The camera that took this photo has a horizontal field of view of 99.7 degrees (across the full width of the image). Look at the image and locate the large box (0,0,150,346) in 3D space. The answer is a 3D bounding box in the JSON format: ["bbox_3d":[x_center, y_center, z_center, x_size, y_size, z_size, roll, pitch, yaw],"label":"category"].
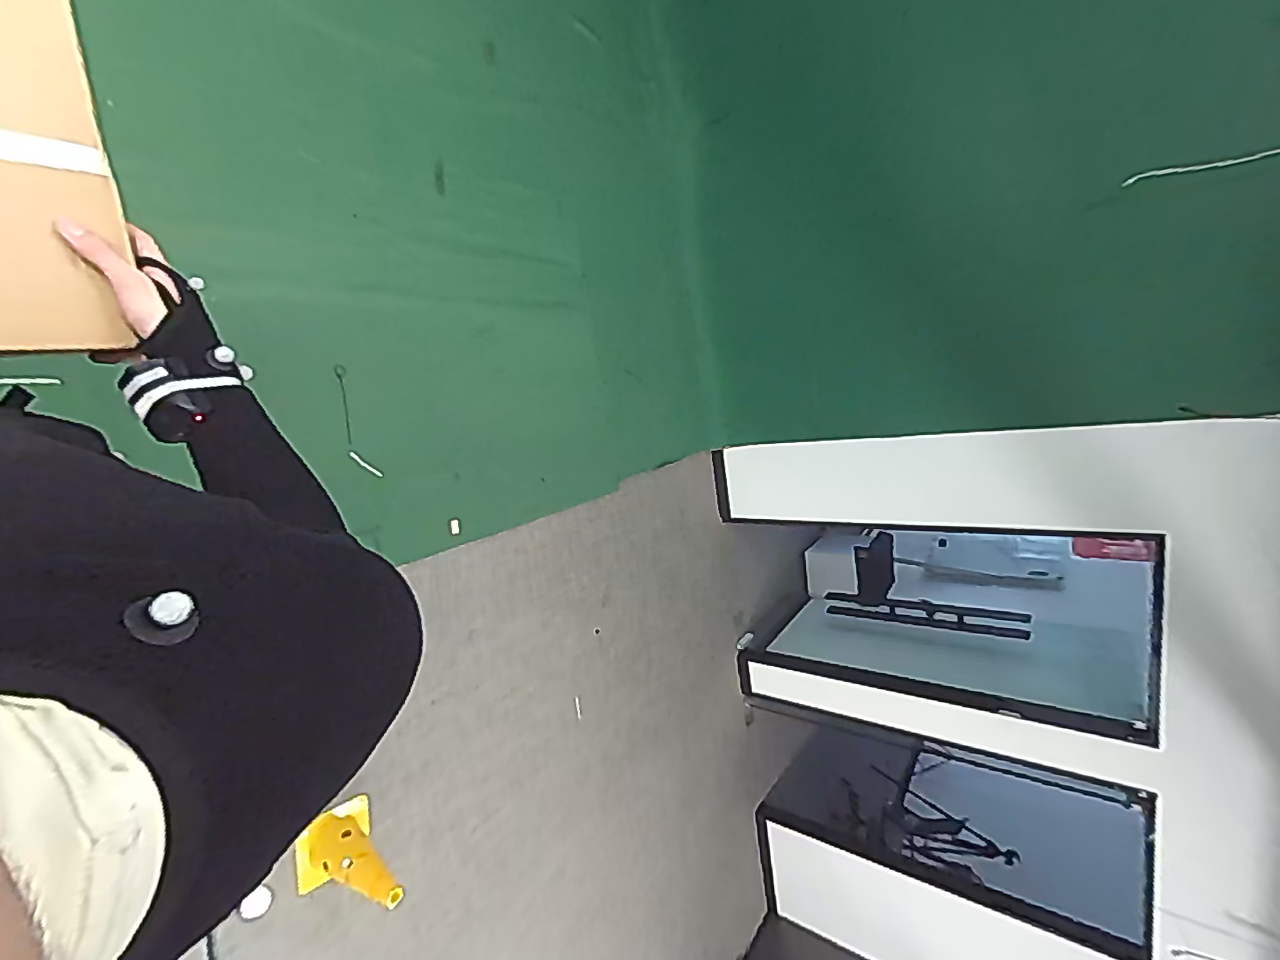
[{"bbox_3d":[-0.716,-0.260,0.422,0.408,0.320,0.320,-20,114,-49],"label":"large box"}]
